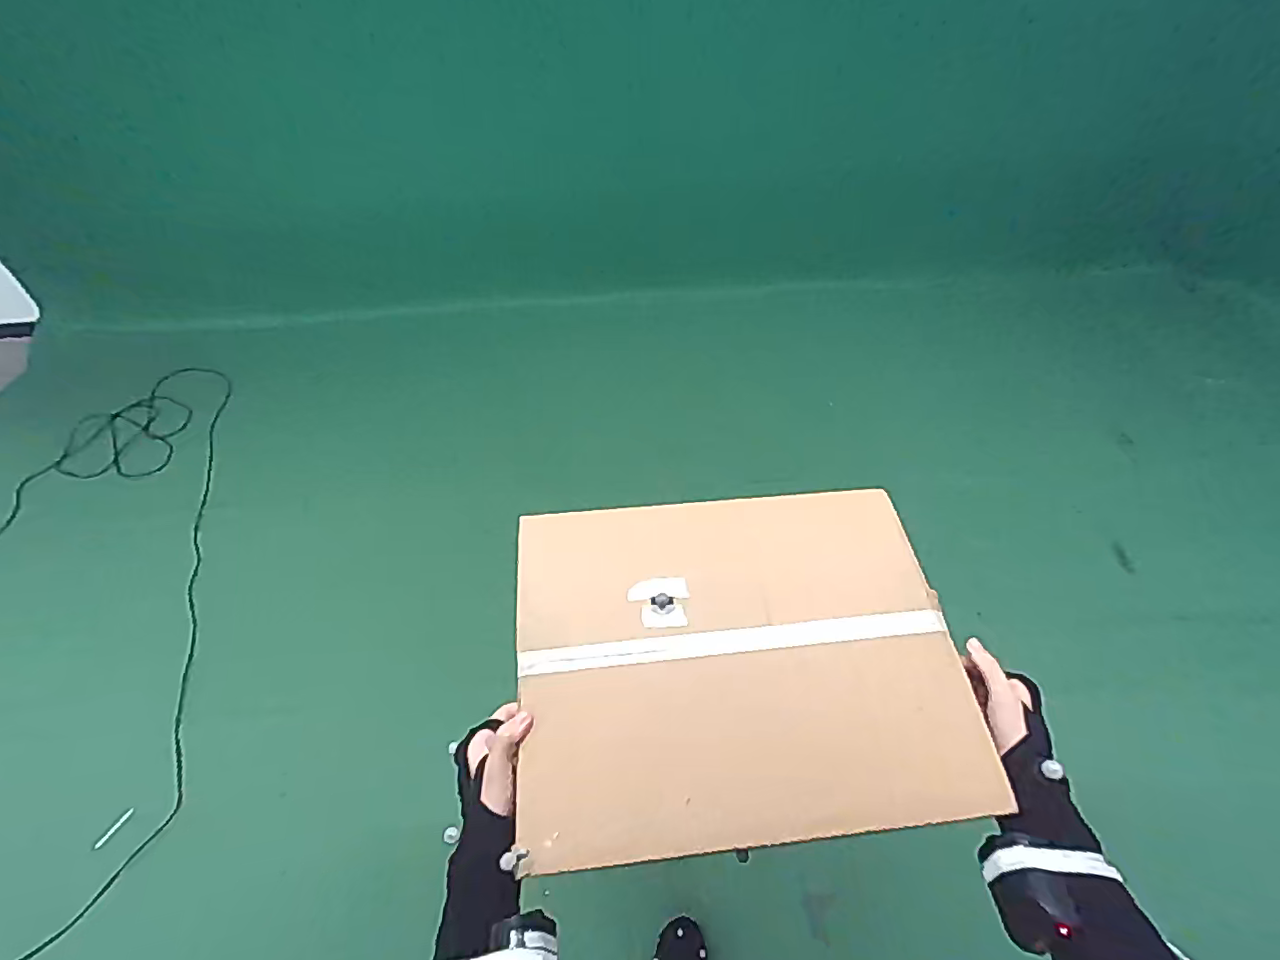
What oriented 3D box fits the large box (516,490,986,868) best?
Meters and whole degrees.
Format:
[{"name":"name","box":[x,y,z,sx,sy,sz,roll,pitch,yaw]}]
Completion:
[{"name":"large box","box":[0.082,0.236,0.645,0.408,0.320,0.320,-5,58,-4]}]
